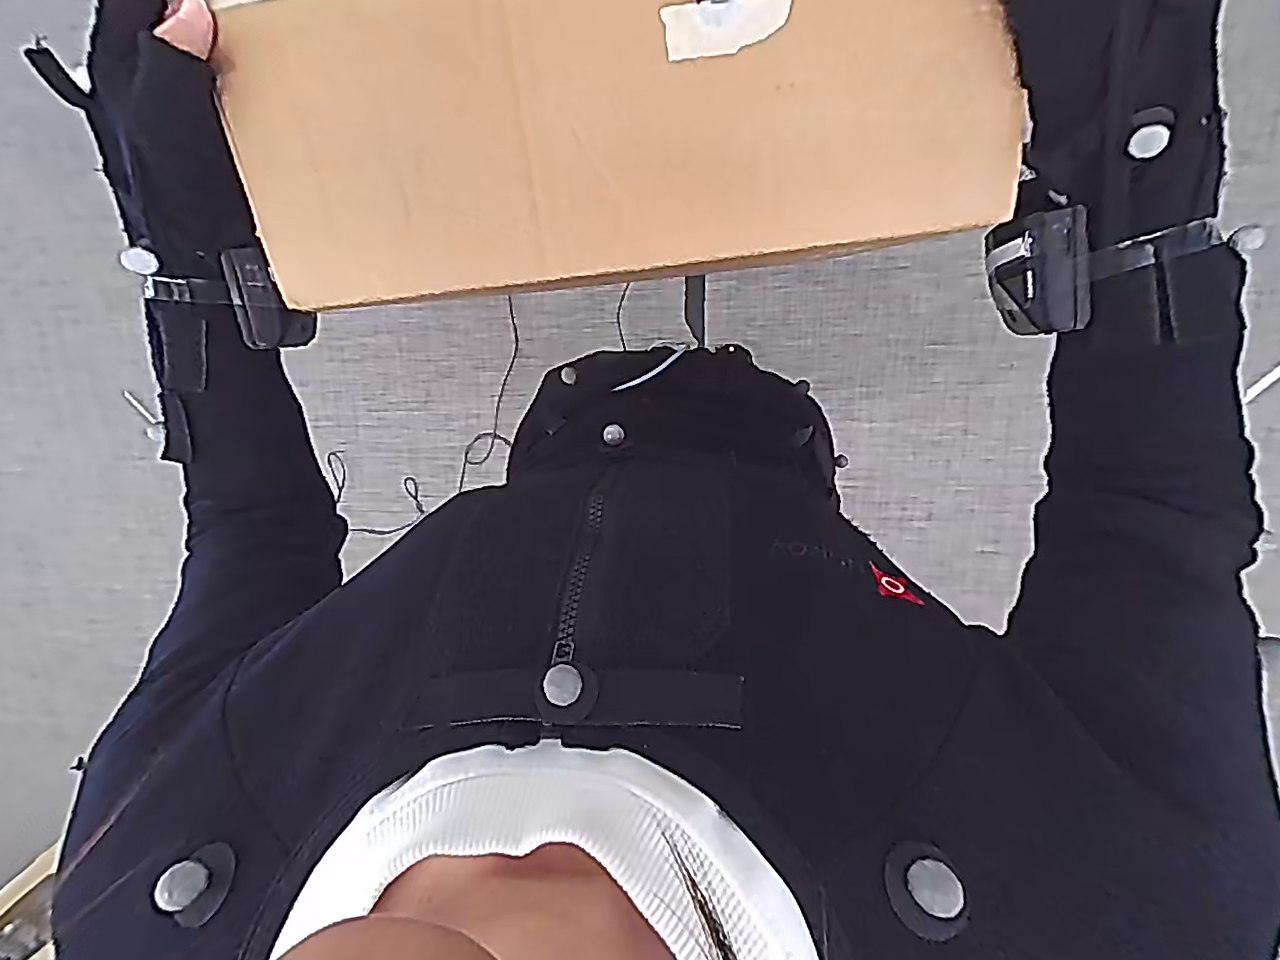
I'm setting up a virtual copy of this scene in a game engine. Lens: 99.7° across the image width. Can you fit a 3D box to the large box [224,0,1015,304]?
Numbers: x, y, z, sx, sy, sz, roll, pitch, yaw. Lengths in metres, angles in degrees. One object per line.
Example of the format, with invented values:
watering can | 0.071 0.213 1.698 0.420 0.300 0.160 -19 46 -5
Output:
large box | -0.012 -0.320 0.400 0.408 0.320 0.320 -4 110 8
